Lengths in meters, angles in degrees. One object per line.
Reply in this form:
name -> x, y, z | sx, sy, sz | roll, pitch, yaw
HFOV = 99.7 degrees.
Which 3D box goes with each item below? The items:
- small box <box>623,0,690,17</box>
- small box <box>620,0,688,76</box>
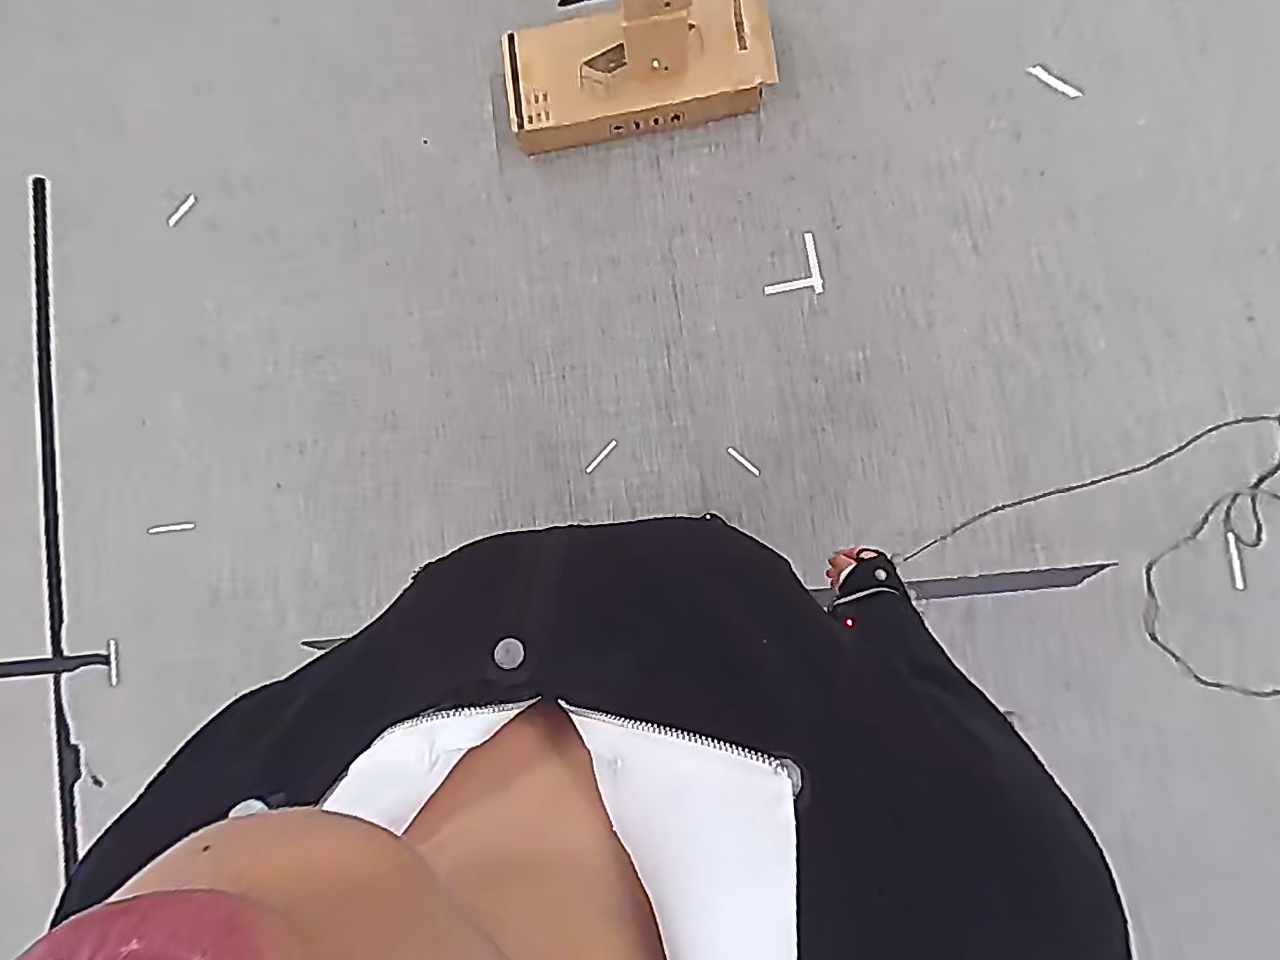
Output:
small box -> 0.024, -1.224, 1.234 | 0.168, 0.176, 0.179 | -8, 85, 6
small box -> 0.038, -1.198, 1.398 | 0.168, 0.176, 0.179 | -4, 87, 6
